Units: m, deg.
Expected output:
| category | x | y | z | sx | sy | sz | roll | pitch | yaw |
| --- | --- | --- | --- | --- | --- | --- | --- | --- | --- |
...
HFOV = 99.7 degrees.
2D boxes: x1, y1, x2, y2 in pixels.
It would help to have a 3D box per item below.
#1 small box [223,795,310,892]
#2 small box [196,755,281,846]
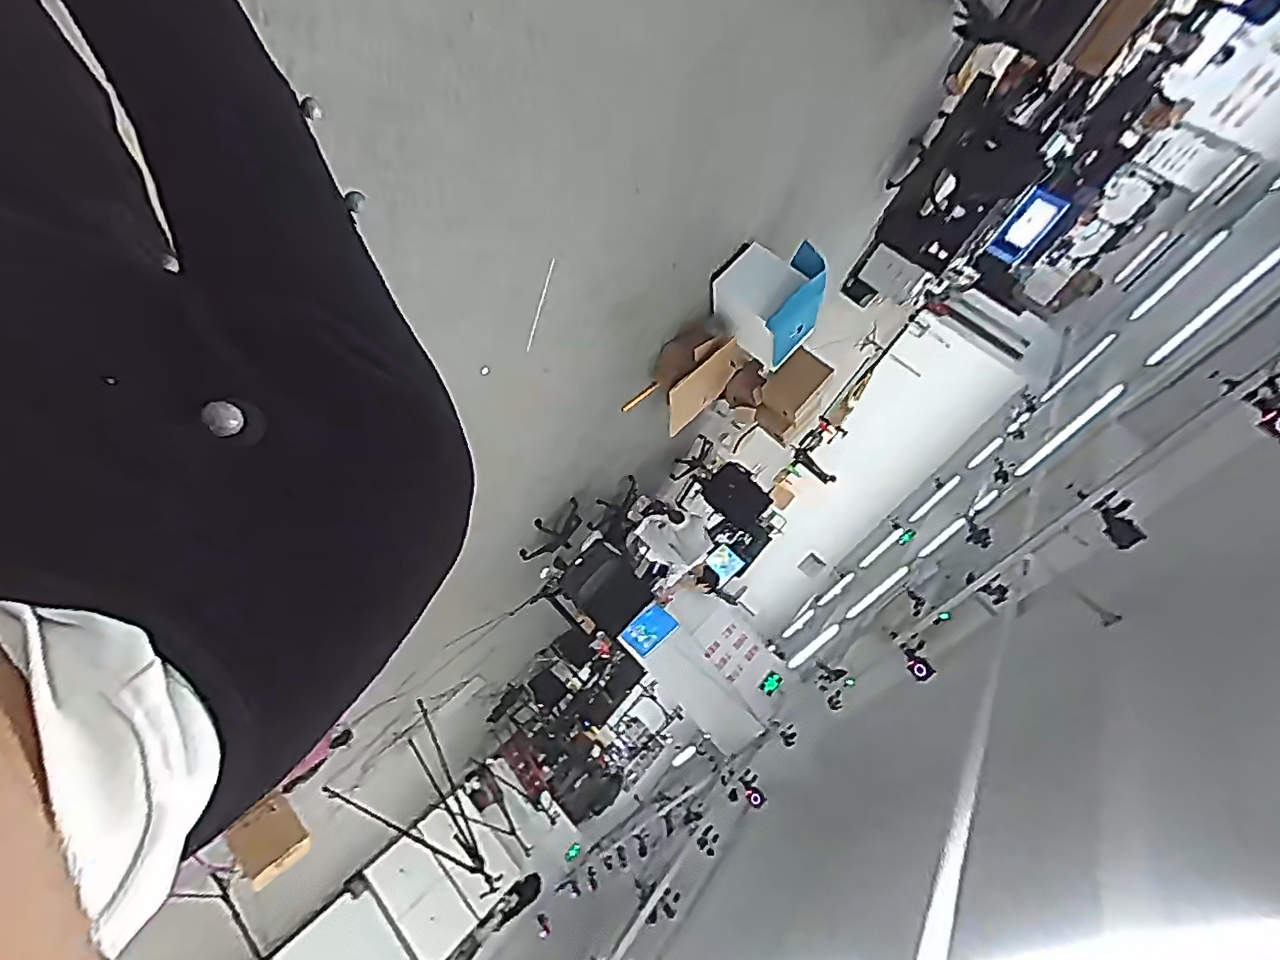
| category | x | y | z | sx | sy | sz | roll | pitch | yaw |
| --- | --- | --- | --- | --- | --- | --- | --- | --- | --- |
| small box | -1.148 | 1.113 | 1.665 | 0.168 | 0.176 | 0.179 | -31 | 158 | -46 |
| small box | -1.268 | 1.013 | 1.715 | 0.168 | 0.176 | 0.179 | -30 | 157 | -46 |
